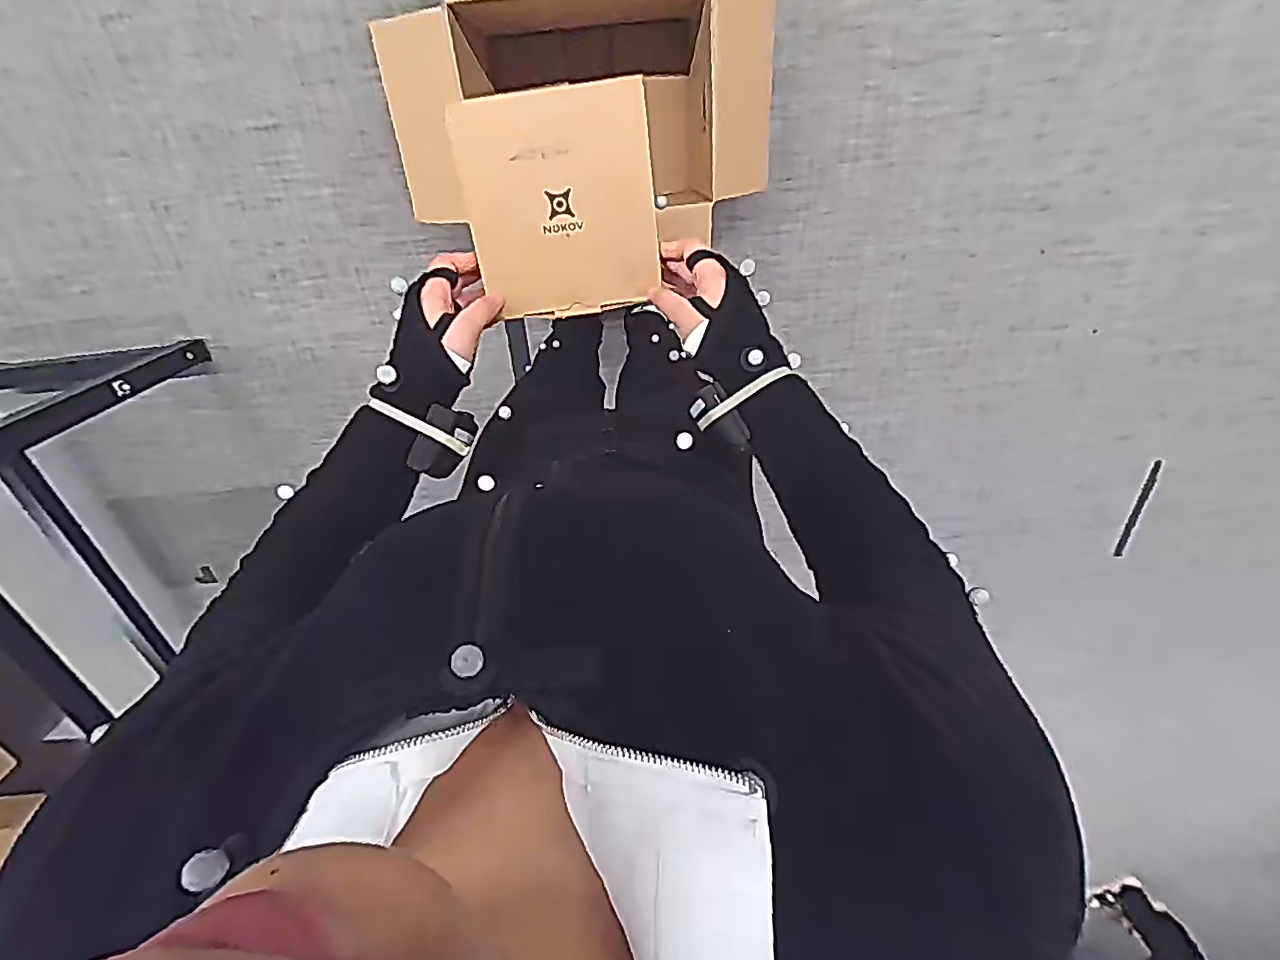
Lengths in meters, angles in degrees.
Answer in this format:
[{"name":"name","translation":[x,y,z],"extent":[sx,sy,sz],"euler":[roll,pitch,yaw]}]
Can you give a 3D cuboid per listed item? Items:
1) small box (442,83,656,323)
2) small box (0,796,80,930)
[{"name":"small box","translation":[-0.074,-0.270,0.546],"extent":[0.168,0.176,0.179],"euler":[-7,115,1]},{"name":"small box","translation":[-1.259,0.737,1.044],"extent":[0.179,0.176,0.168],"euler":[-4,120,1]}]
